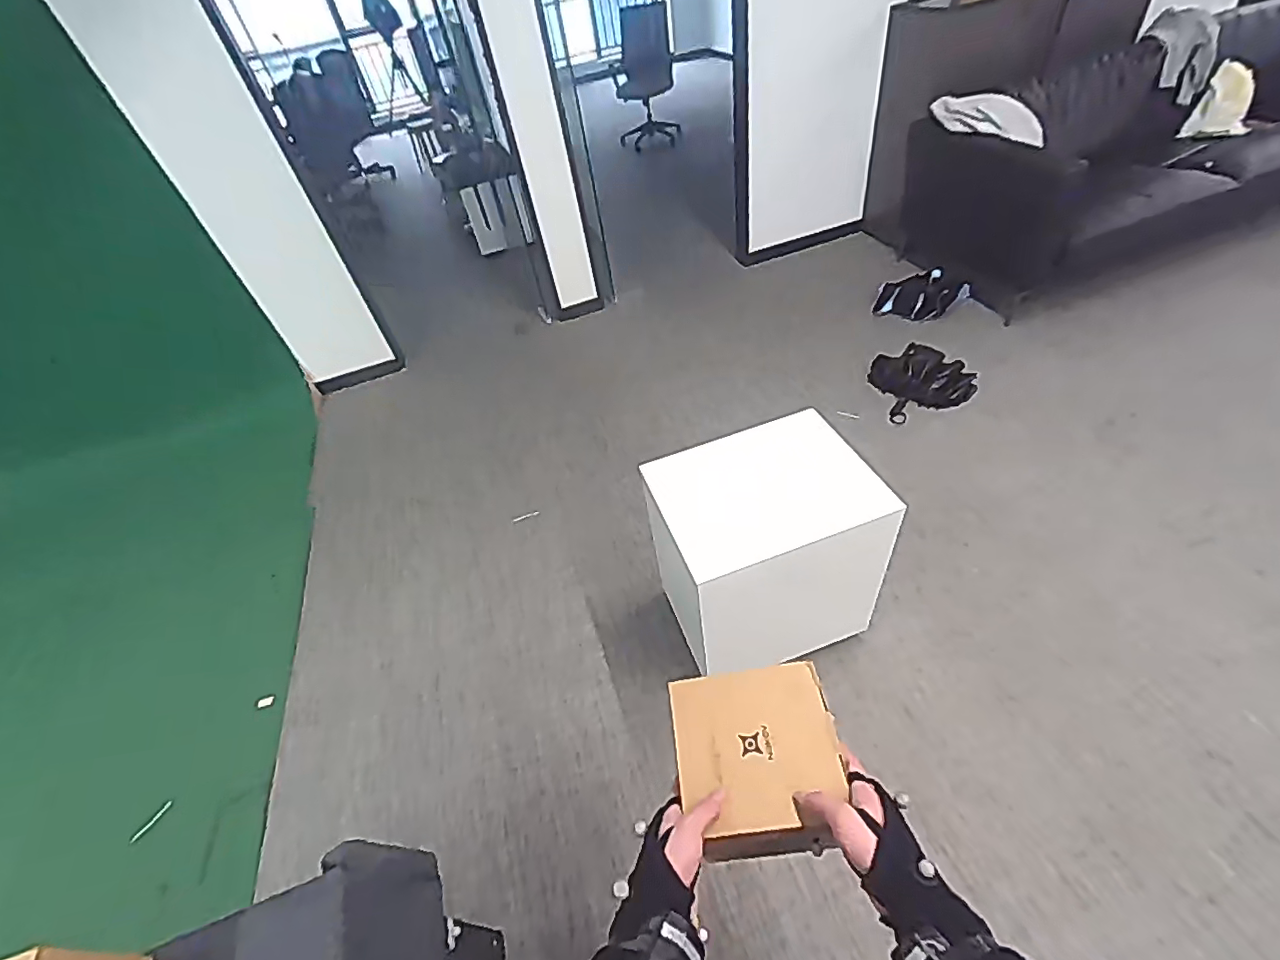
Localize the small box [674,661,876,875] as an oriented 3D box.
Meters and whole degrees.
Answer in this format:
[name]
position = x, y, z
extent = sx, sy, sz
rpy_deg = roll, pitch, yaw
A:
[small box]
position = 0.147, 0.336, 0.626
extent = 0.179, 0.176, 0.168
rpy_deg = -13, 45, 4
